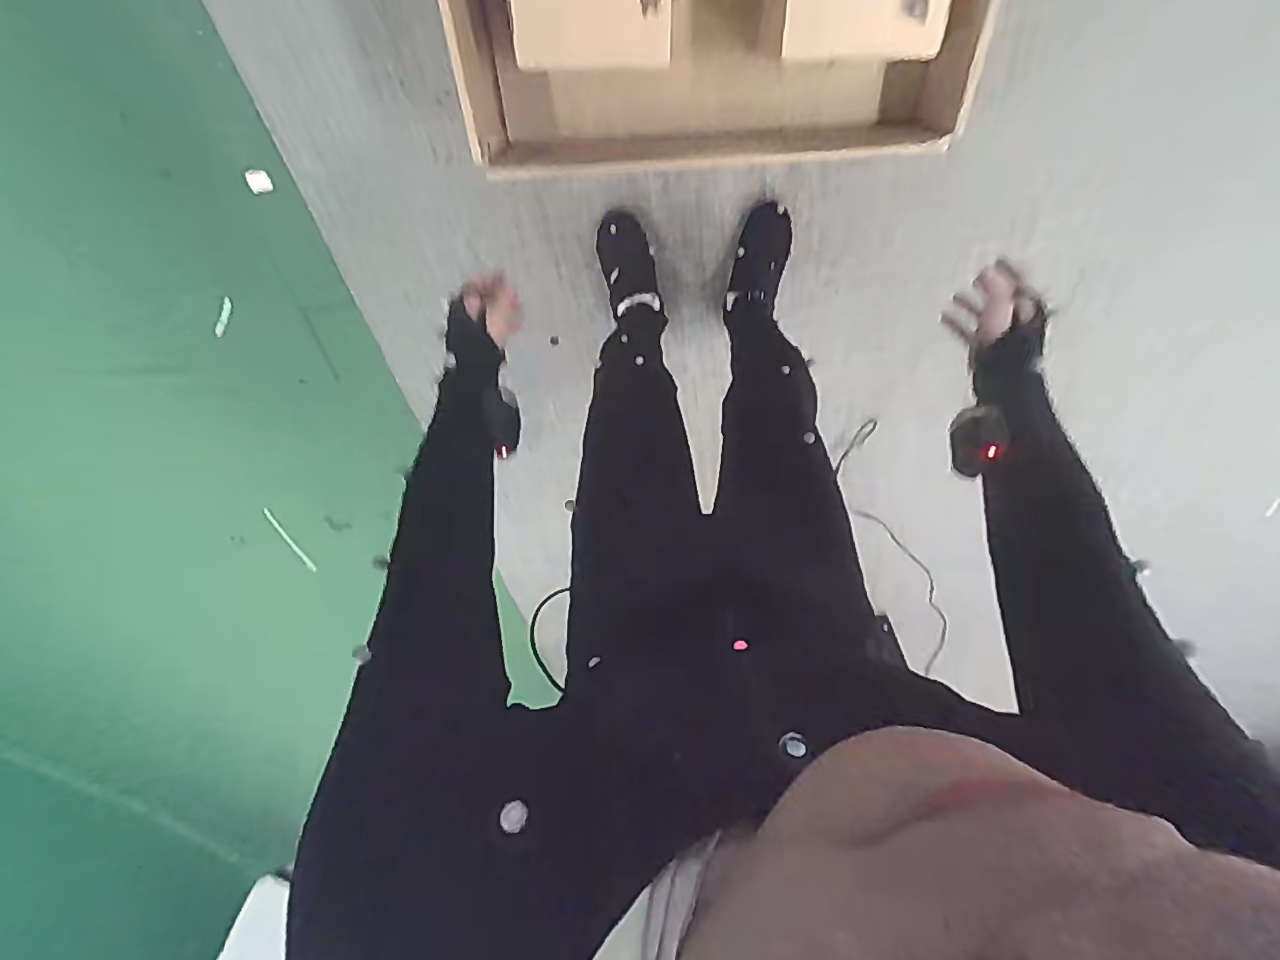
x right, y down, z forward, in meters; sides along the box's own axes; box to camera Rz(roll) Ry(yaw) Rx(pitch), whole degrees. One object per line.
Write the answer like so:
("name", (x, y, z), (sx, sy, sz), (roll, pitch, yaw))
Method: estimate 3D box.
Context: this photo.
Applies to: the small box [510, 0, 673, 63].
("small box", (-0.049, -0.583, 0.619), (0.179, 0.176, 0.168), (1, 130, 2))
